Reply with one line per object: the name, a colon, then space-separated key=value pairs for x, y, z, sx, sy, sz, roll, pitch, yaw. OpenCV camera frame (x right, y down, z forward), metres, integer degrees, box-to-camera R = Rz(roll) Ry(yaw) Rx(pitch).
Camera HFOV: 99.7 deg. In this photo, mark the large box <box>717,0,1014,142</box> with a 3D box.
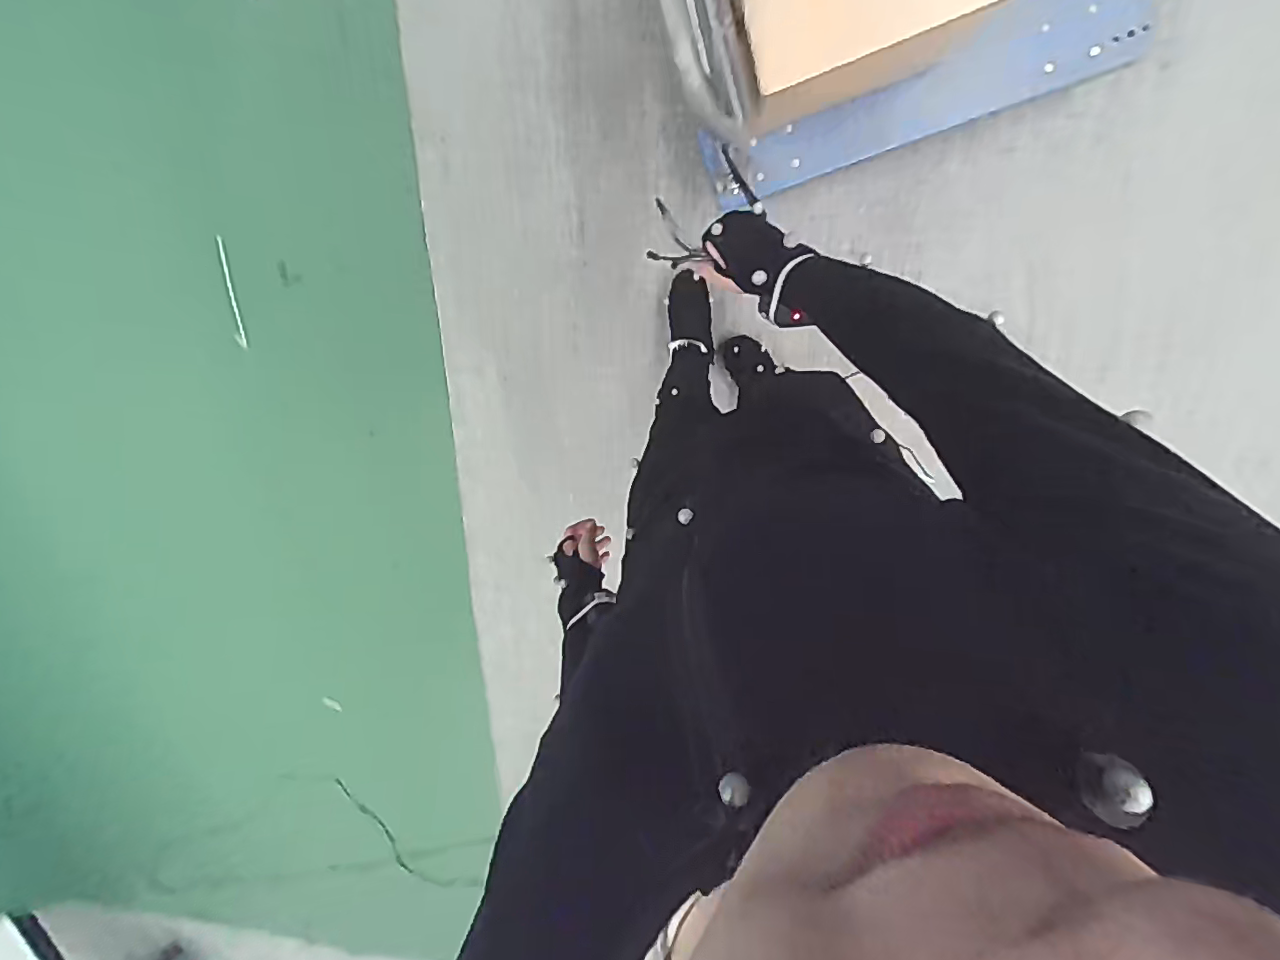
large box: x=0.361 y=-0.865 z=0.946 sx=0.408 sy=0.320 sz=0.320 roll=-15 pitch=109 yaw=12
